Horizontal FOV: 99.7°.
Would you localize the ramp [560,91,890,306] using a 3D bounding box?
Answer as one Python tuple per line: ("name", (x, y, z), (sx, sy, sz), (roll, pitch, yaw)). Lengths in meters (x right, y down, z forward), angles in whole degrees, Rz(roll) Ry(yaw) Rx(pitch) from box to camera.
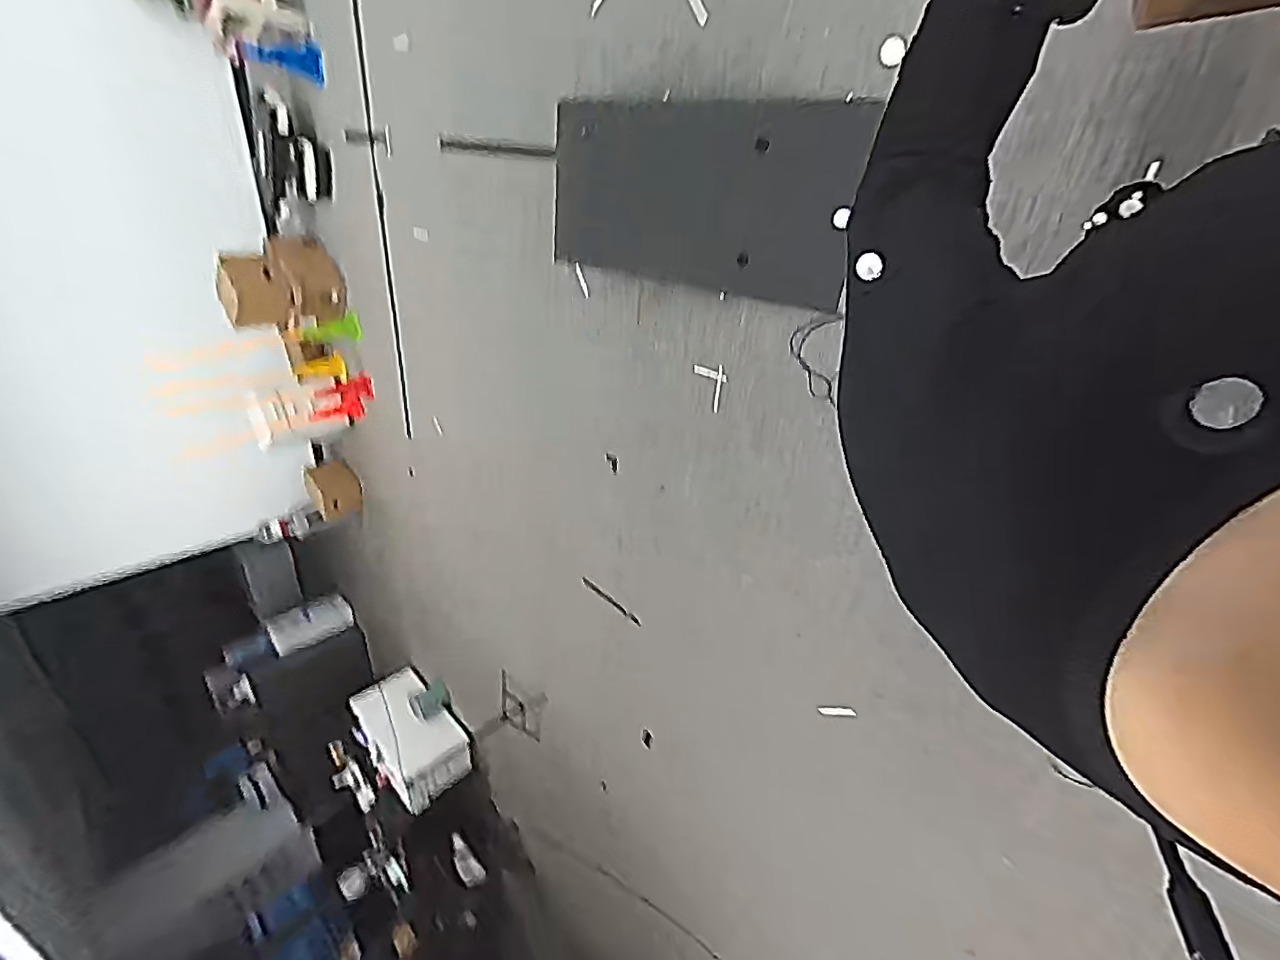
("ramp", (0.155, -0.853, 1.597), (0.991, 0.206, 0.509), (26, 123, 36))
